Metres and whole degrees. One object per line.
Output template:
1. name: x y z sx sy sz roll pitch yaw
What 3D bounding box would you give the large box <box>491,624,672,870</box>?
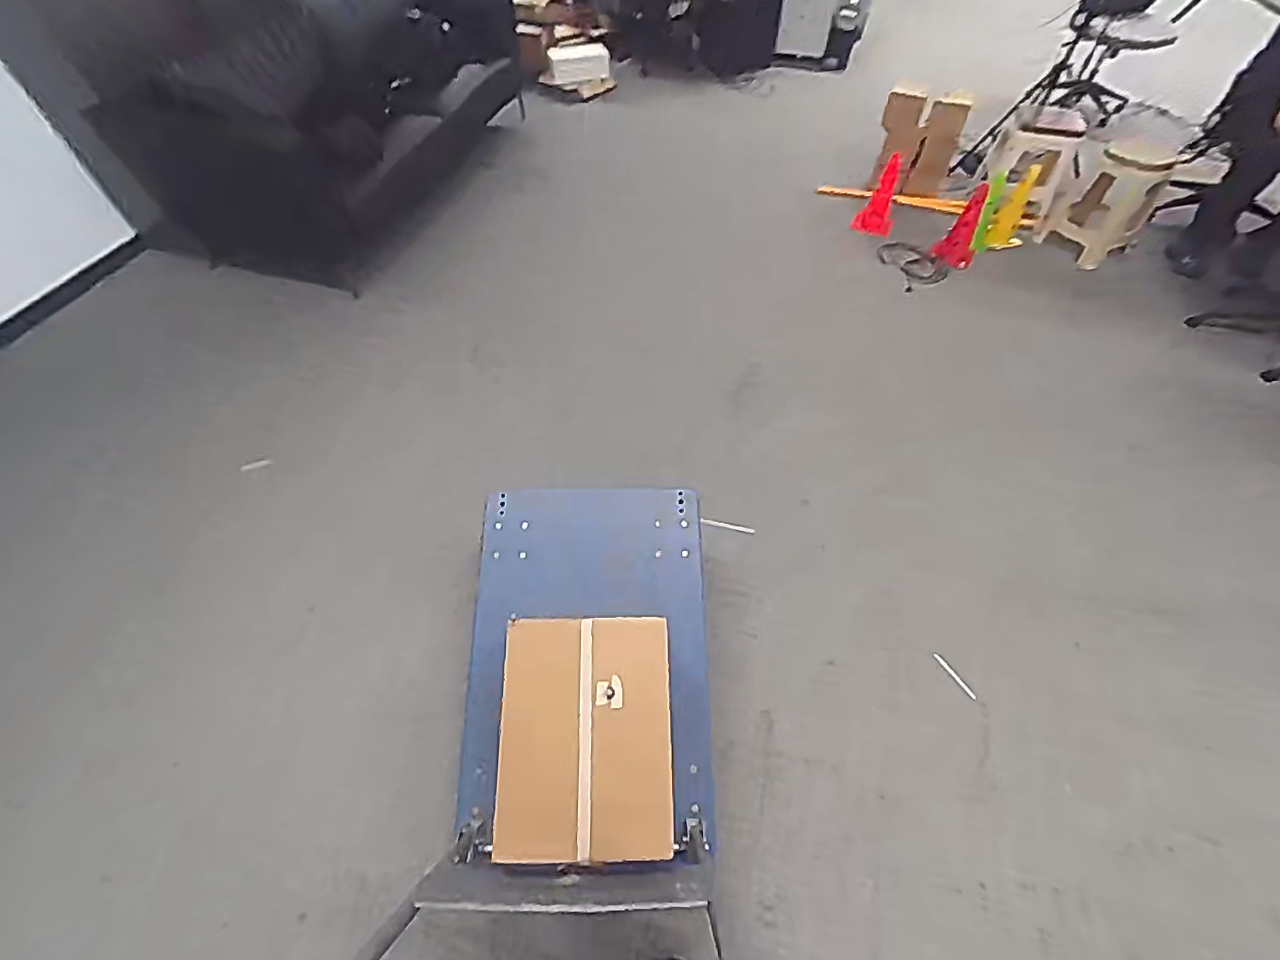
1. large box: -0.104 0.527 1.125 0.320 0.320 0.408 -1 68 -1
